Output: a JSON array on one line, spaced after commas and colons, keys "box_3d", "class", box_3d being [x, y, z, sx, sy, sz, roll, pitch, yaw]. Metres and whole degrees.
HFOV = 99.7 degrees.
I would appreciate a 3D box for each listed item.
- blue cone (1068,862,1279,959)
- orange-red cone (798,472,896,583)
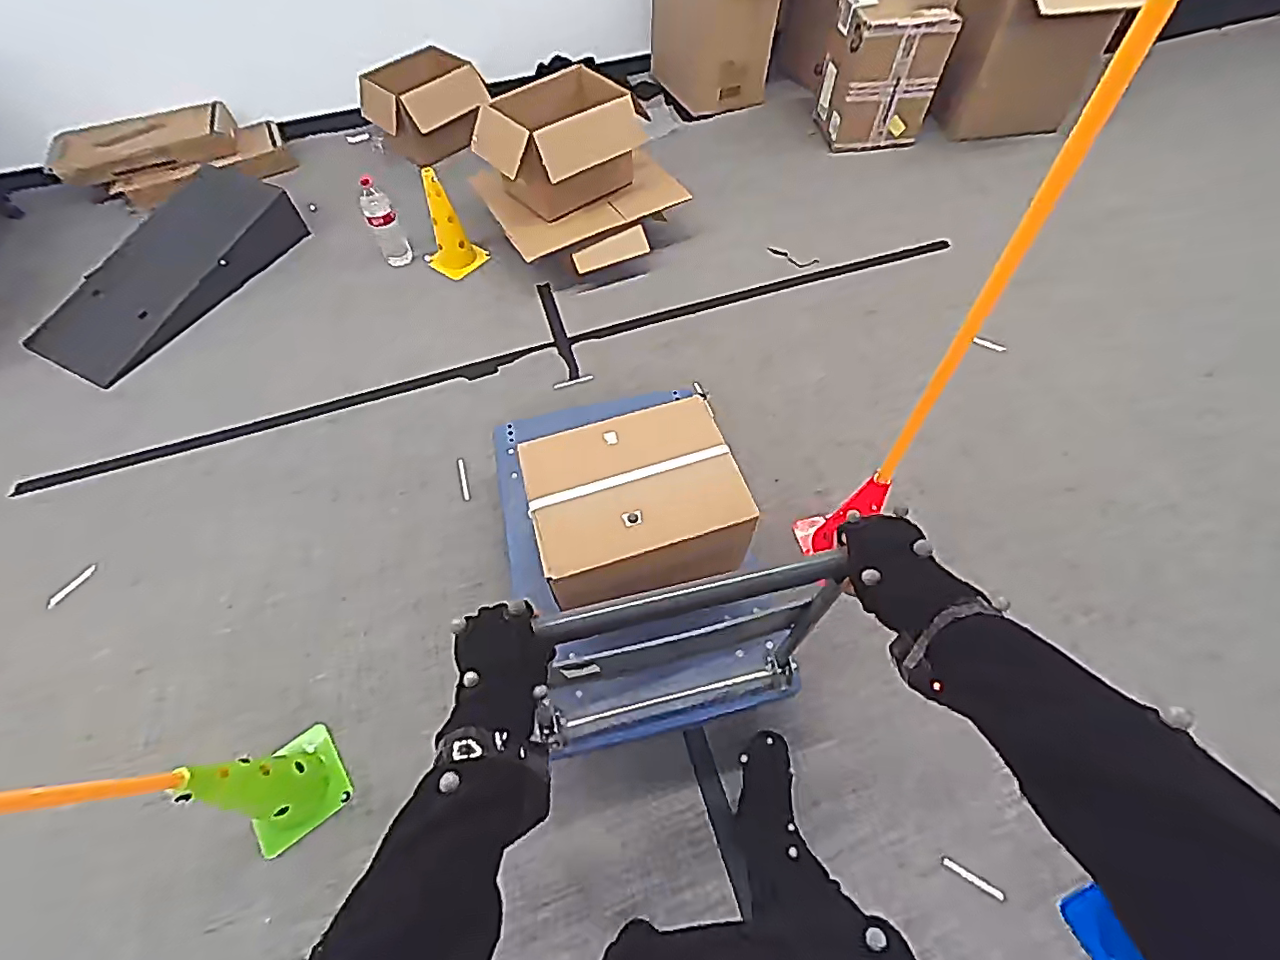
[{"box_3d": [0.945, 0.784, 0.894, 0.193, 0.380, 0.192, -20, 58, -10], "class": "blue cone"}, {"box_3d": [0.544, 0.087, 1.323, 0.199, 0.360, 0.198, -10, 59, -6], "class": "orange-red cone"}]
